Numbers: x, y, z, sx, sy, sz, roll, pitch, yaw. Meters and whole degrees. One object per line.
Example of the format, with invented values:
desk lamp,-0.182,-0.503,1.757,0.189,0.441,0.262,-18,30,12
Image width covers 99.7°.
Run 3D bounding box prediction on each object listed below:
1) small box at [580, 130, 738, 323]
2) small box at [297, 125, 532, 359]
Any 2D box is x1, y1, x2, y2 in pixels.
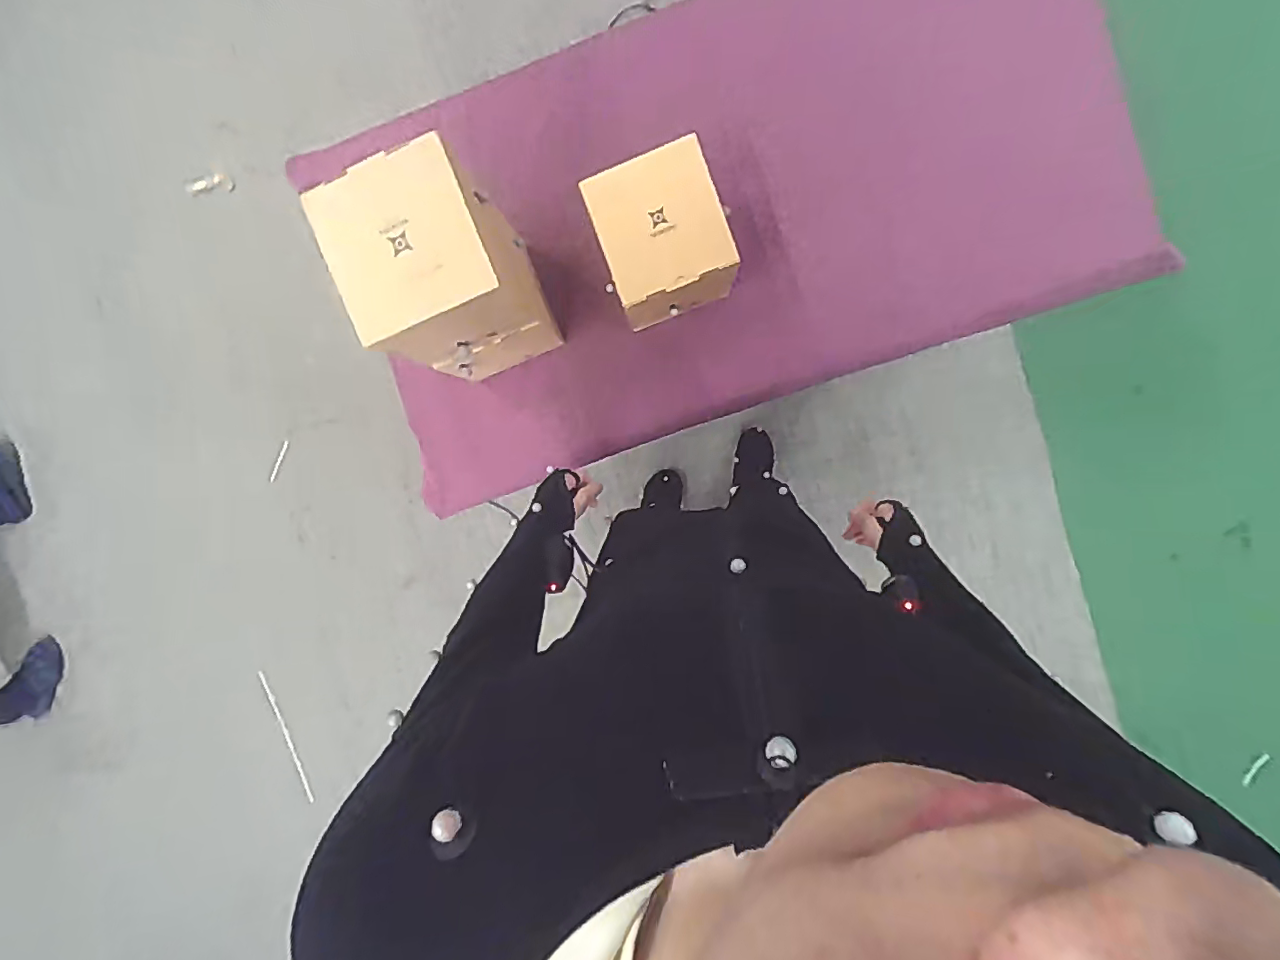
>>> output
small box,0.027,-0.352,0.787,0.168,0.176,0.179,-21,94,4
small box,-0.249,-0.262,0.642,0.168,0.176,0.179,-22,94,5
